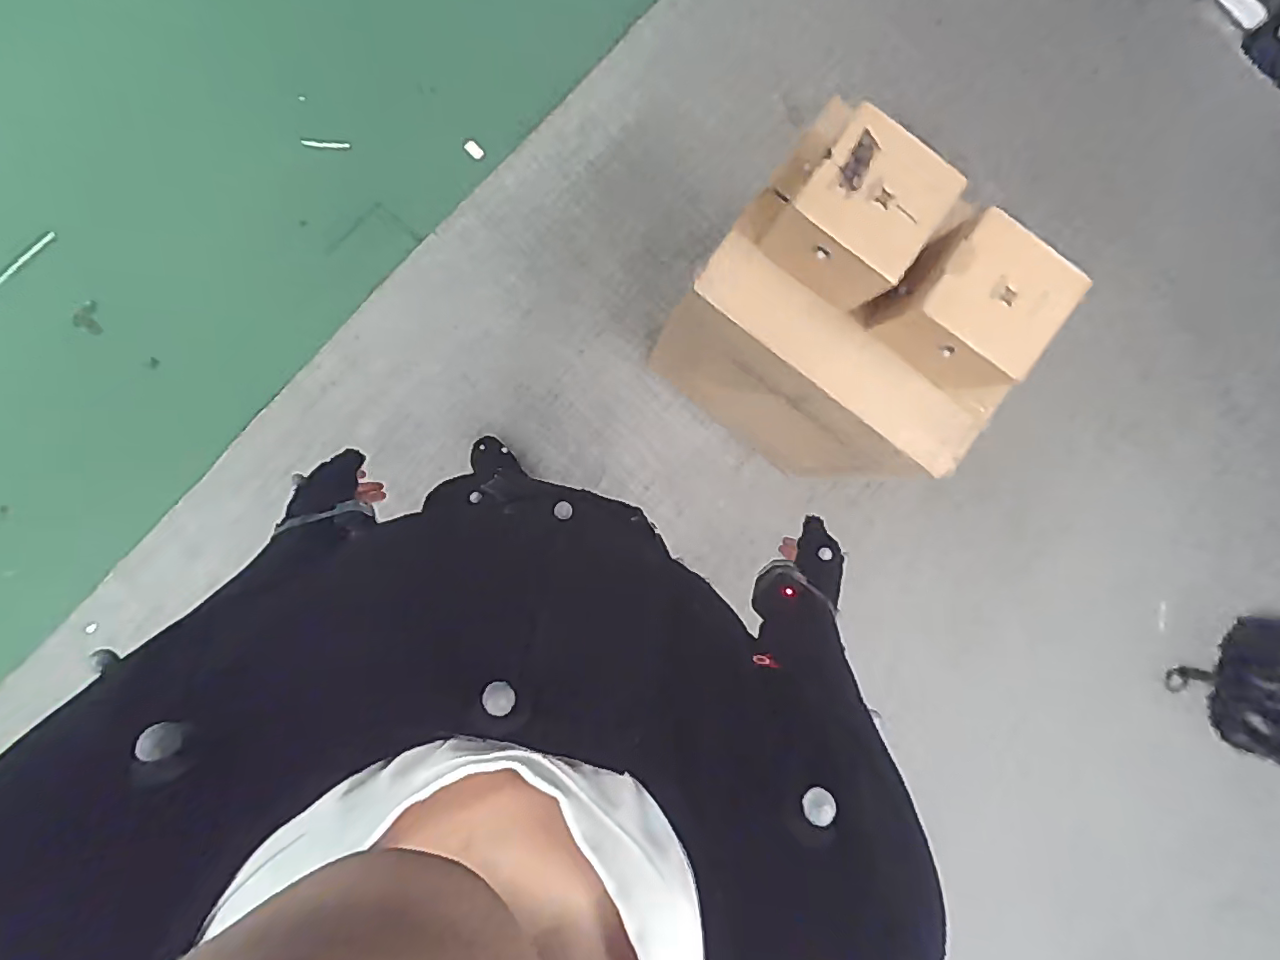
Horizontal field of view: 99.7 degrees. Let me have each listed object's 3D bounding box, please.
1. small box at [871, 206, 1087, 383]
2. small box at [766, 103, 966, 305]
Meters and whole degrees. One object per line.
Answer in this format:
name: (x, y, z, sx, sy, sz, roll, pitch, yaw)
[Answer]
small box: (0.485, -0.258, 0.805, 0.179, 0.176, 0.168, 33, 94, -6)
small box: (0.310, -0.380, 0.786, 0.179, 0.176, 0.168, 35, 93, -5)
